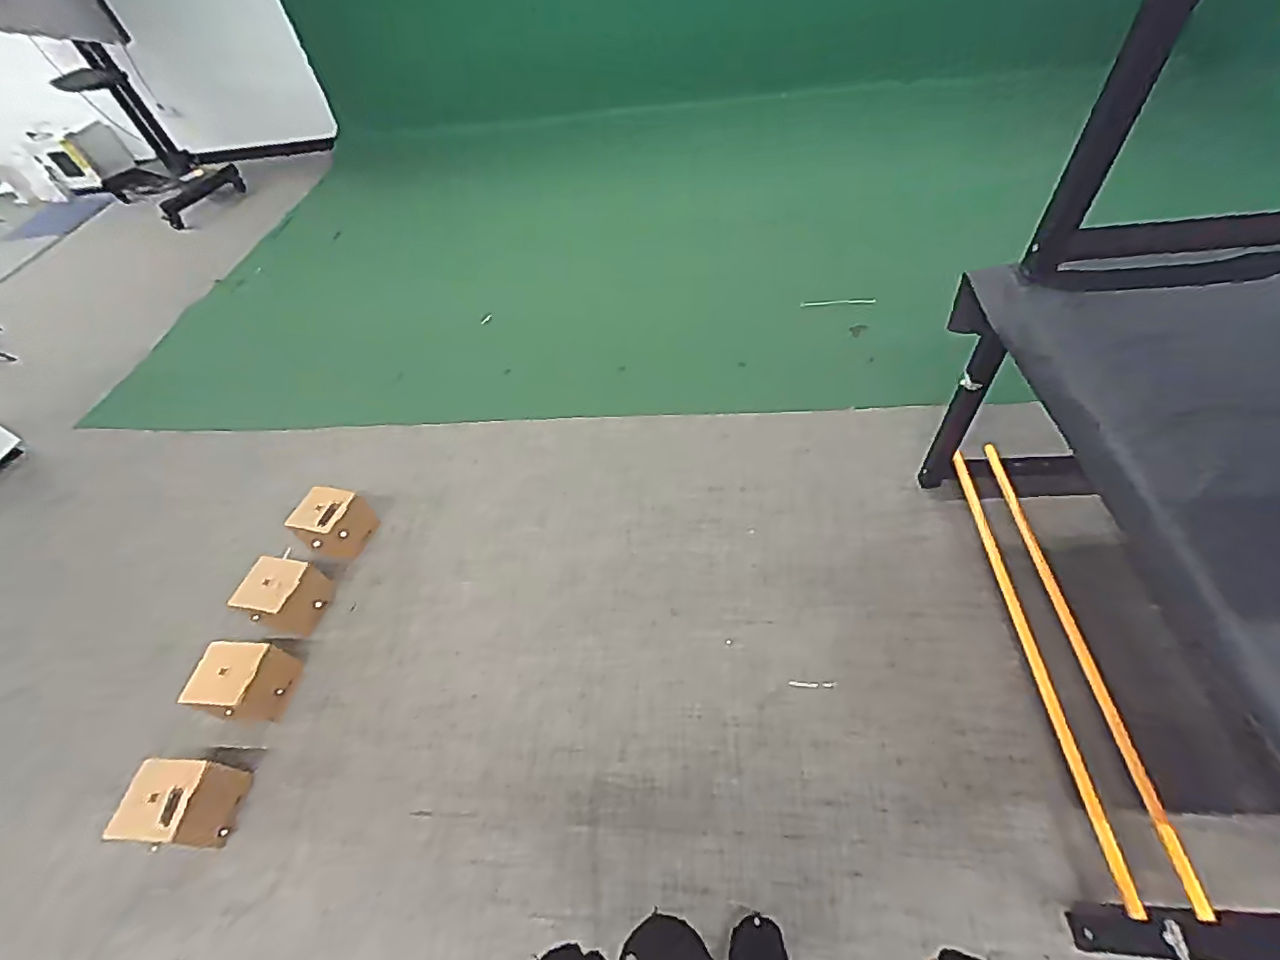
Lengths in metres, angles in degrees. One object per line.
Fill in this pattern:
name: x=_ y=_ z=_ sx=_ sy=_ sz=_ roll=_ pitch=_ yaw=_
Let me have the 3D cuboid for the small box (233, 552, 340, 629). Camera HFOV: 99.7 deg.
small box: x=-1.072 y=0.341 z=1.655 sx=0.179 sy=0.176 sz=0.168 roll=6 pitch=54 yaw=12

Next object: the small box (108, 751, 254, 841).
small box: x=-1.101 y=0.772 z=1.318 sx=0.179 sy=0.176 sz=0.168 roll=-1 pitch=52 yaw=8

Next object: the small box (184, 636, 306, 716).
small box: x=-1.083 y=0.544 z=1.498 sx=0.179 sy=0.176 sz=0.168 roll=0 pitch=52 yaw=7
